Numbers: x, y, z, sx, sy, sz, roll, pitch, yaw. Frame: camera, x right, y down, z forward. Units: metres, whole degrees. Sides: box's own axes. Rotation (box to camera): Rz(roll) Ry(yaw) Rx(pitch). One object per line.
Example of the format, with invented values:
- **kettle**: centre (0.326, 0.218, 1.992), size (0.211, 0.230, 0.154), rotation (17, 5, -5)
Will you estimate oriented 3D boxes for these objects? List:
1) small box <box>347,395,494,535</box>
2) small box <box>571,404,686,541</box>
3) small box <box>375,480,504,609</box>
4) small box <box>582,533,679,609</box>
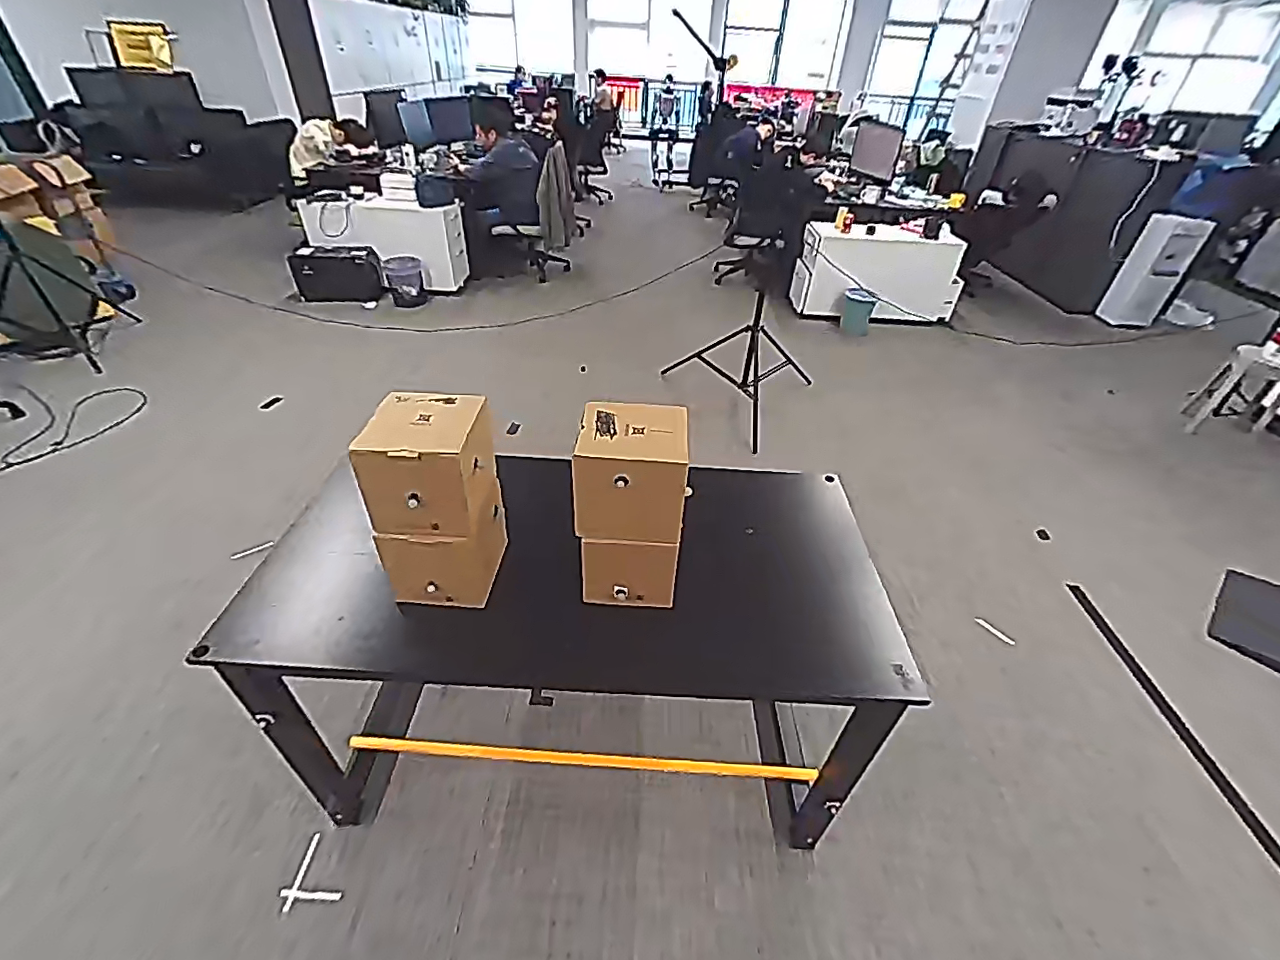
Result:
- **small box**: centre (-0.348, -0.024, 0.901), size (0.168, 0.176, 0.179), rotation (3, 39, -2)
- **small box**: centre (-0.015, -0.012, 0.916), size (0.179, 0.176, 0.168), rotation (4, 38, 1)
- **small box**: centre (-0.354, 0.110, 0.995), size (0.168, 0.176, 0.179), rotation (4, 38, 1)
- **small box**: centre (-0.018, 0.118, 1.017), size (0.168, 0.176, 0.179), rotation (2, 39, 0)
